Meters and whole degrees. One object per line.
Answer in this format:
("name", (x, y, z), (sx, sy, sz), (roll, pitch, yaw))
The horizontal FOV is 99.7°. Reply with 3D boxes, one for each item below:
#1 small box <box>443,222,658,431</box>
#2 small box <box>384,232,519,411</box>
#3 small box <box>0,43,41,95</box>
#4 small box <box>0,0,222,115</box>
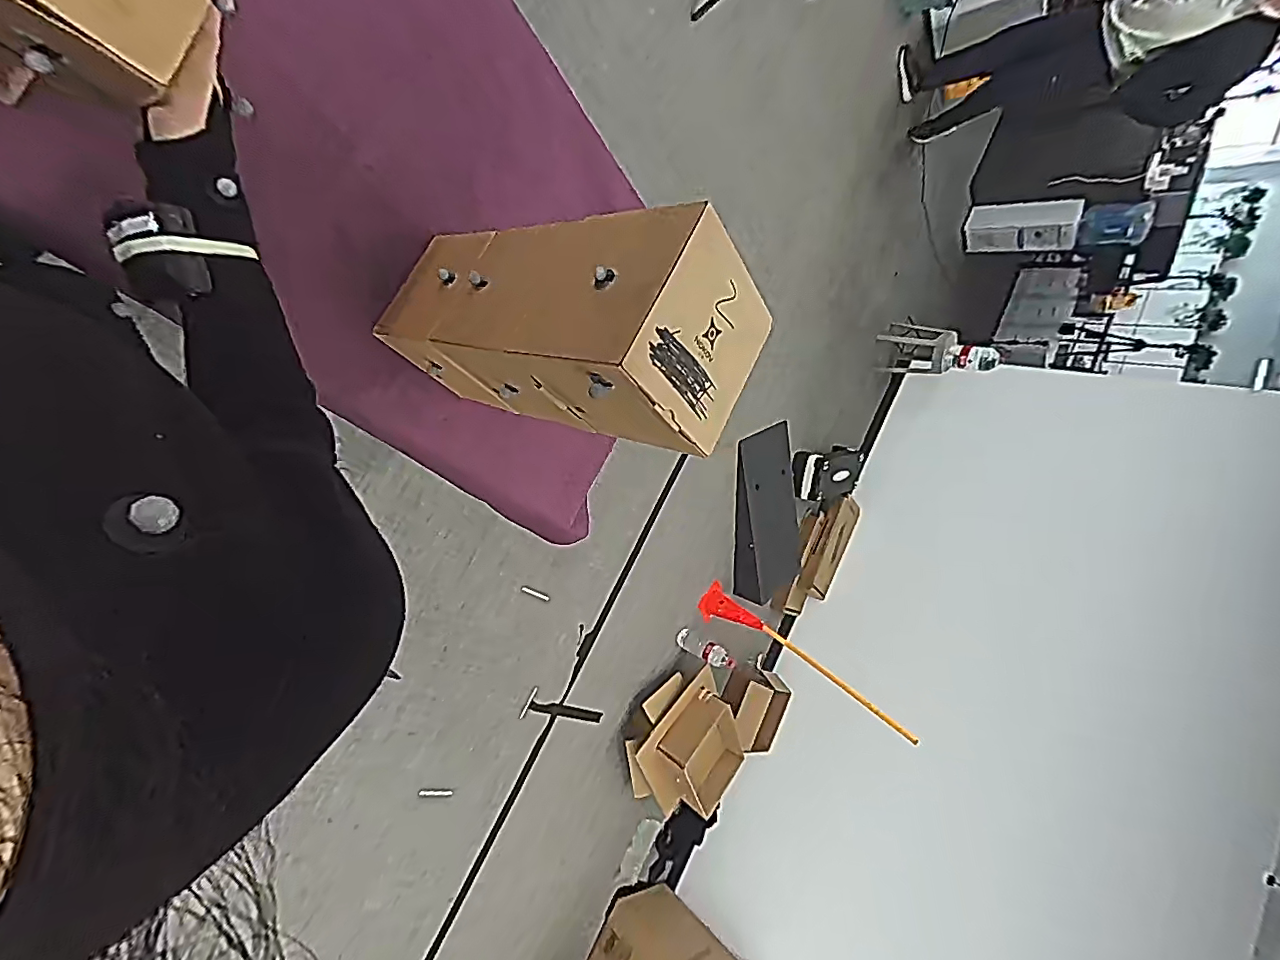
("small box", (-0.115, -0.188, 0.674), (0.168, 0.176, 0.179), (41, 73, -48))
("small box", (-0.237, -0.224, 0.778), (0.168, 0.176, 0.179), (40, 74, -48))
("small box", (-0.512, -0.422, 0.385), (0.168, 0.176, 0.179), (34, 77, -50))
("small box", (-0.347, -0.351, 0.310), (0.168, 0.176, 0.179), (26, 86, -54))
